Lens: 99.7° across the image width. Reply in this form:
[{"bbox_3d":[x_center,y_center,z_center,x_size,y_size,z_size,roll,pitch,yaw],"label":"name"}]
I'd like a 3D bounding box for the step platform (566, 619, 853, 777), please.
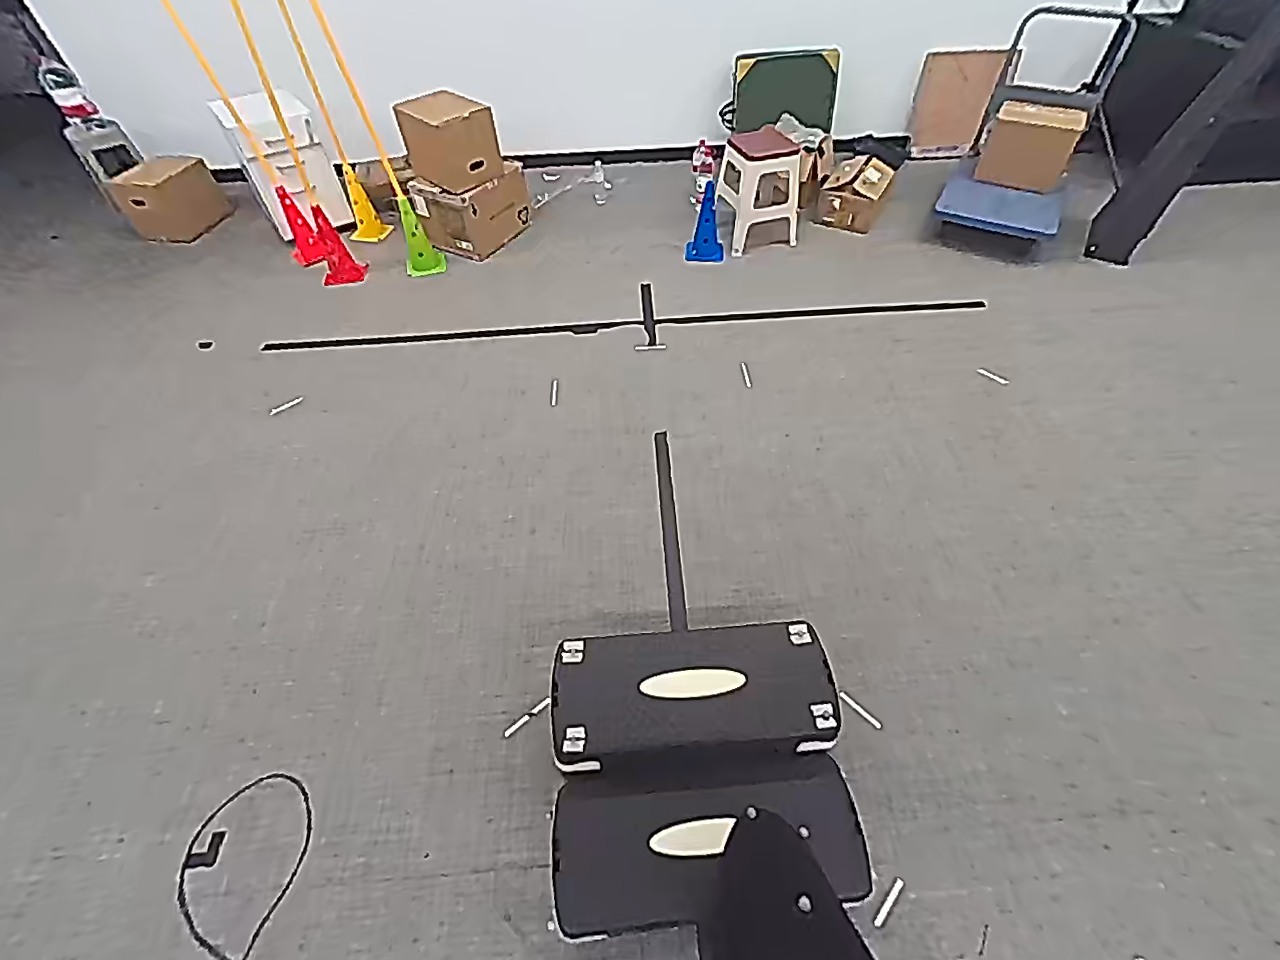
[{"bbox_3d":[0.159,0.532,1.343,0.684,0.204,0.286,-4,50,-3],"label":"step platform"}]
